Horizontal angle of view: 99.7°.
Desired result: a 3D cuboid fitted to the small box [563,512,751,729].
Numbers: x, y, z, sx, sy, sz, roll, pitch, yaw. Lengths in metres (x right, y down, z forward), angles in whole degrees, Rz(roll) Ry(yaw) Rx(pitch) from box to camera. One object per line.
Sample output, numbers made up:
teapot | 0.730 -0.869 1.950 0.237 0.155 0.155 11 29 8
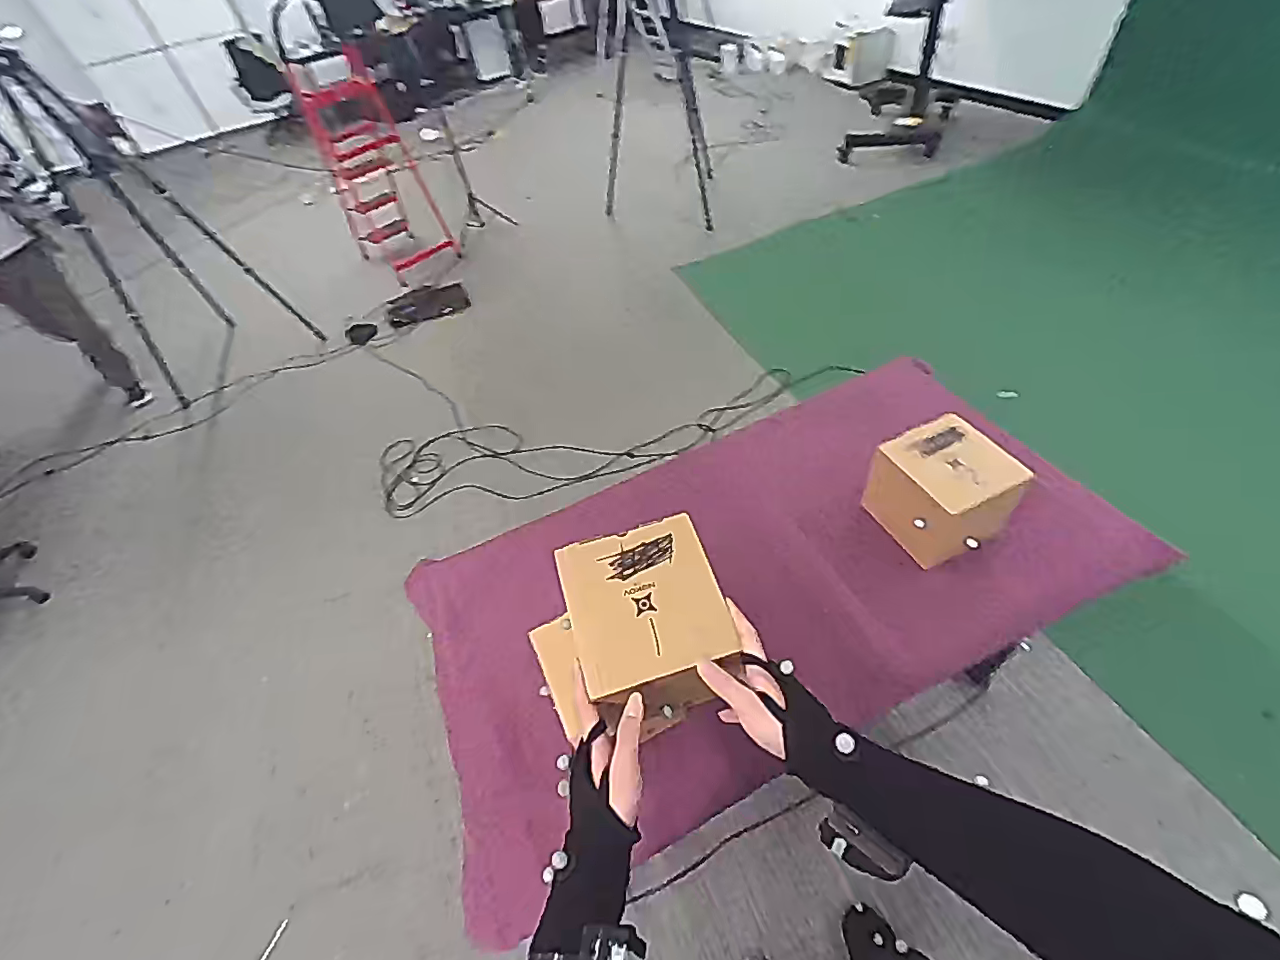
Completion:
small box | 0.014 0.170 0.644 0.168 0.176 0.179 -15 55 -7

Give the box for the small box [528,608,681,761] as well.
small box | -0.049 0.302 0.828 0.168 0.176 0.179 -25 49 -12
